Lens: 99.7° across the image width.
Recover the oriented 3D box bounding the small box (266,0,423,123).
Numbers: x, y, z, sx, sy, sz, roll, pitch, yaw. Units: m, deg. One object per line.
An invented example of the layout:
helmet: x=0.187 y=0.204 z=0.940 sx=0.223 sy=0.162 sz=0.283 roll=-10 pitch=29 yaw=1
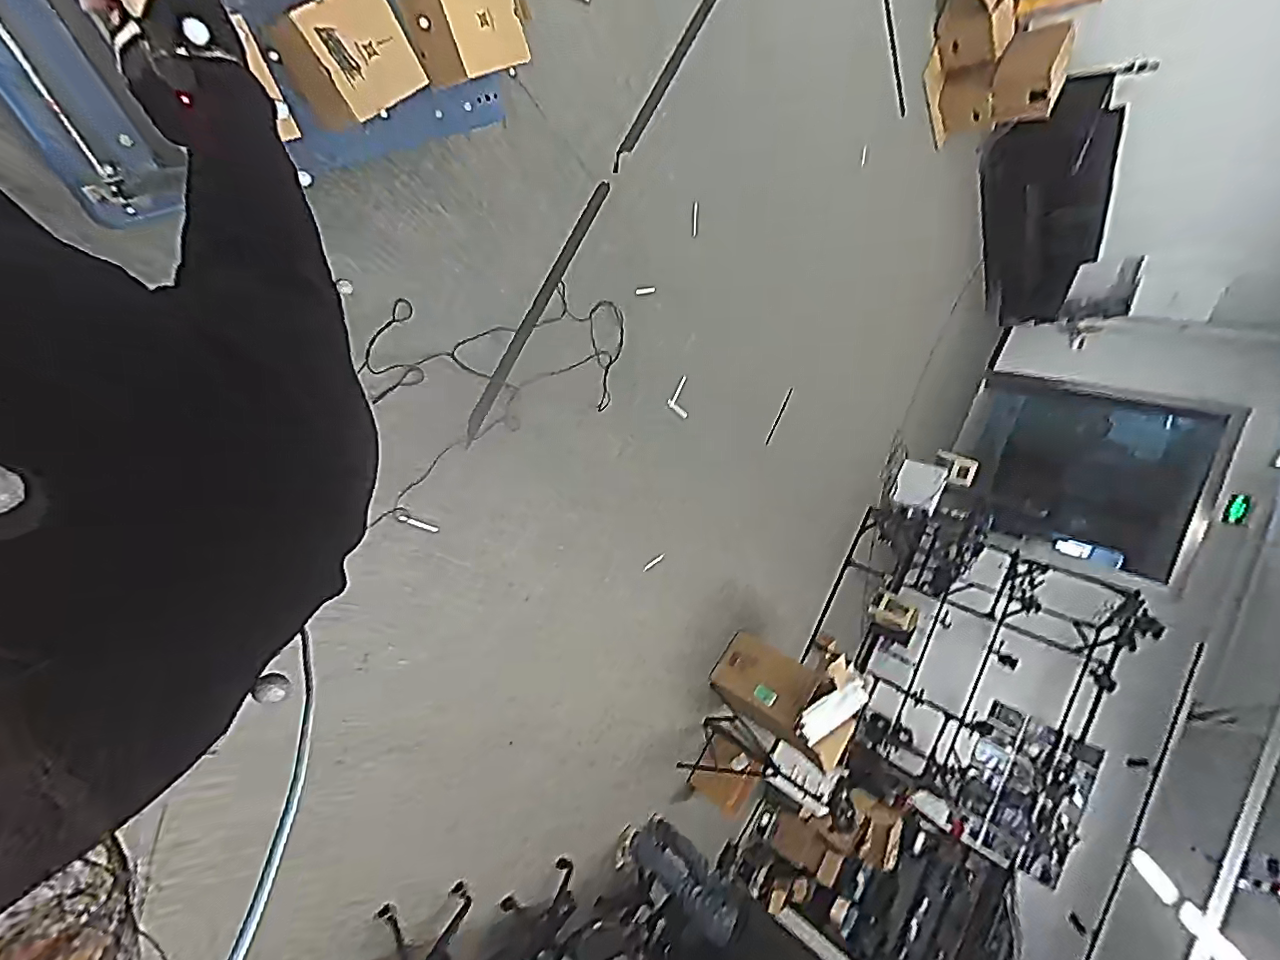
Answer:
small box: x=-0.550 y=-0.792 z=1.001 sx=0.179 sy=0.176 sz=0.168 roll=-51 pitch=139 yaw=-22

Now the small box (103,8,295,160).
small box: x=-0.715 y=-0.635 z=0.879 sx=0.179 sy=0.176 sz=0.168 roll=-41 pitch=135 yaw=-31

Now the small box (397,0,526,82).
small box: x=-0.378 y=-0.959 z=1.129 sx=0.179 sy=0.176 sz=0.168 roll=-44 pitch=136 yaw=-29
